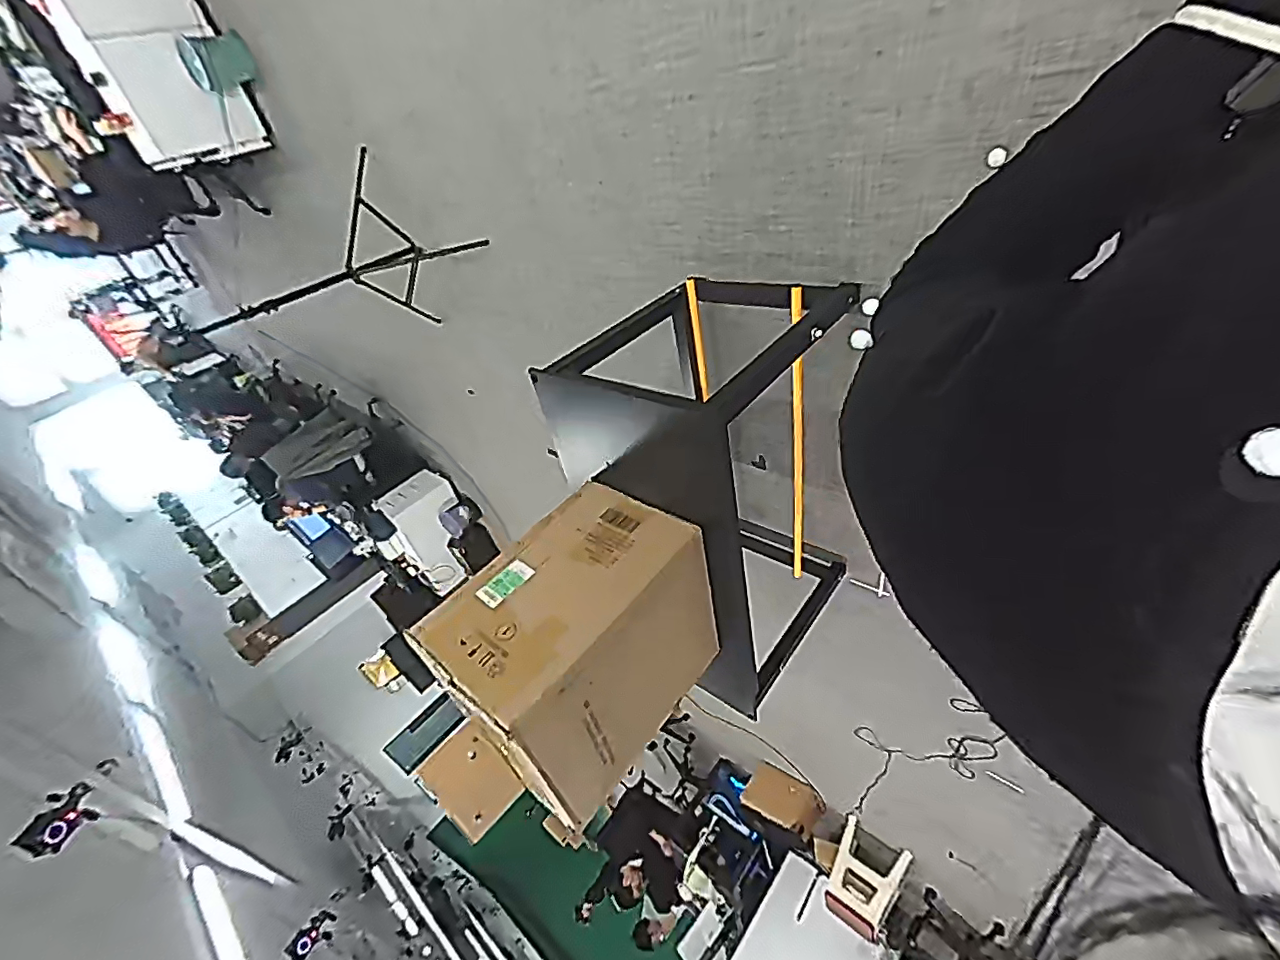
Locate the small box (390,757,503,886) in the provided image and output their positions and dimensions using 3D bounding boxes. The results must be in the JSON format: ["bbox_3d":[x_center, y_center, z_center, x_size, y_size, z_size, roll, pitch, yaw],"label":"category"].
[{"bbox_3d":[-0.460,0.821,1.310,0.168,0.176,0.179,23,139,37],"label":"small box"}]
